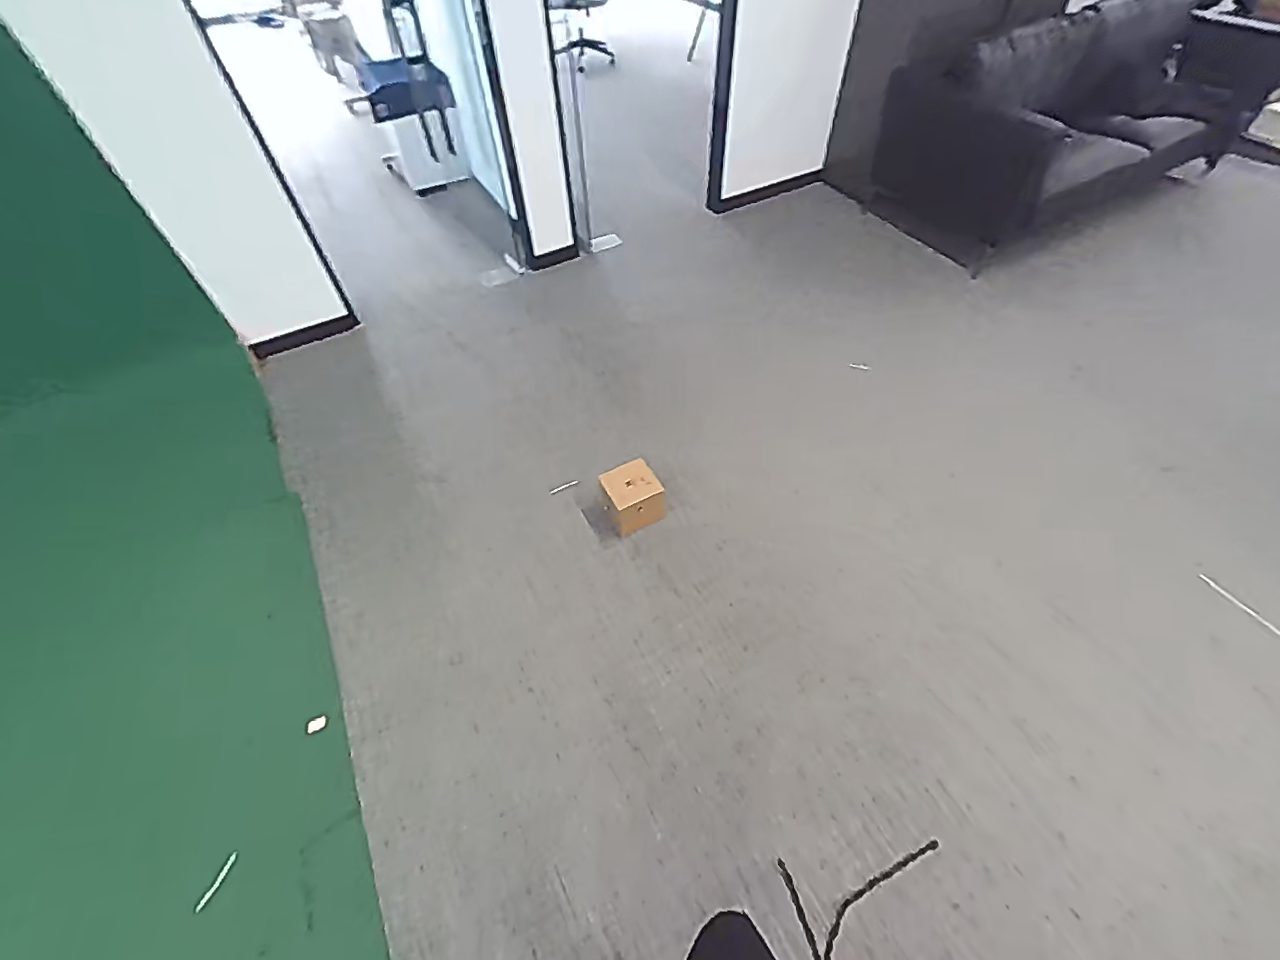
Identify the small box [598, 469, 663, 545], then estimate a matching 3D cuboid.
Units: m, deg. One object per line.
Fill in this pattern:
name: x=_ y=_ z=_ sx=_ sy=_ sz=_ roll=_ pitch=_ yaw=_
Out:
small box: x=-0.031 y=0.098 z=1.891 sx=0.179 sy=0.176 sz=0.168 roll=-23 pitch=54 yaw=-17
